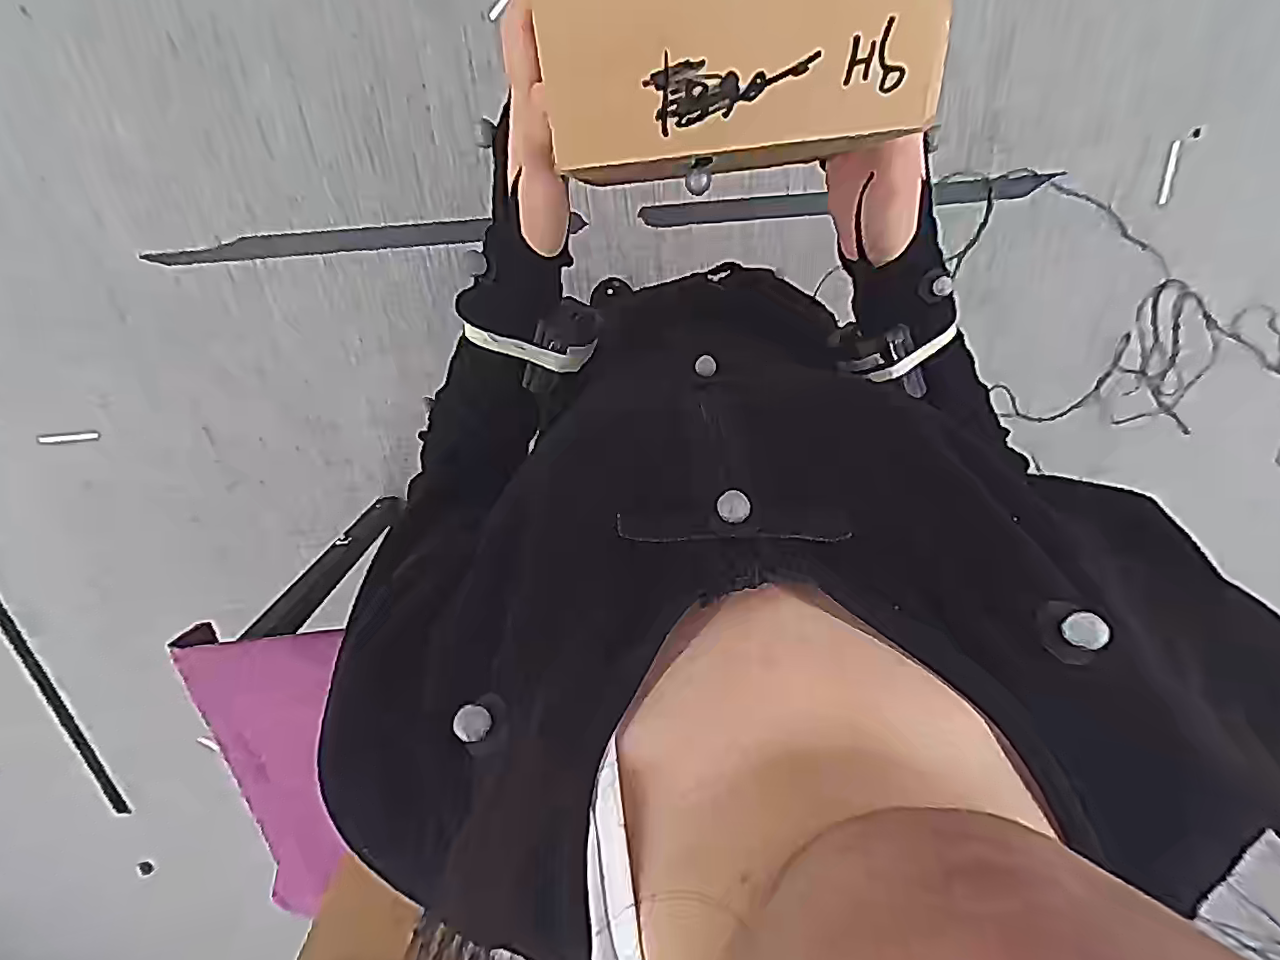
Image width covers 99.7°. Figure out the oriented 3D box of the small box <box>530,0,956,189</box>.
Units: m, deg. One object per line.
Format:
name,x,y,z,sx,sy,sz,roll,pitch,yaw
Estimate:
small box,0.036,-0.253,0.264,0.168,0.176,0.179,-5,116,4
